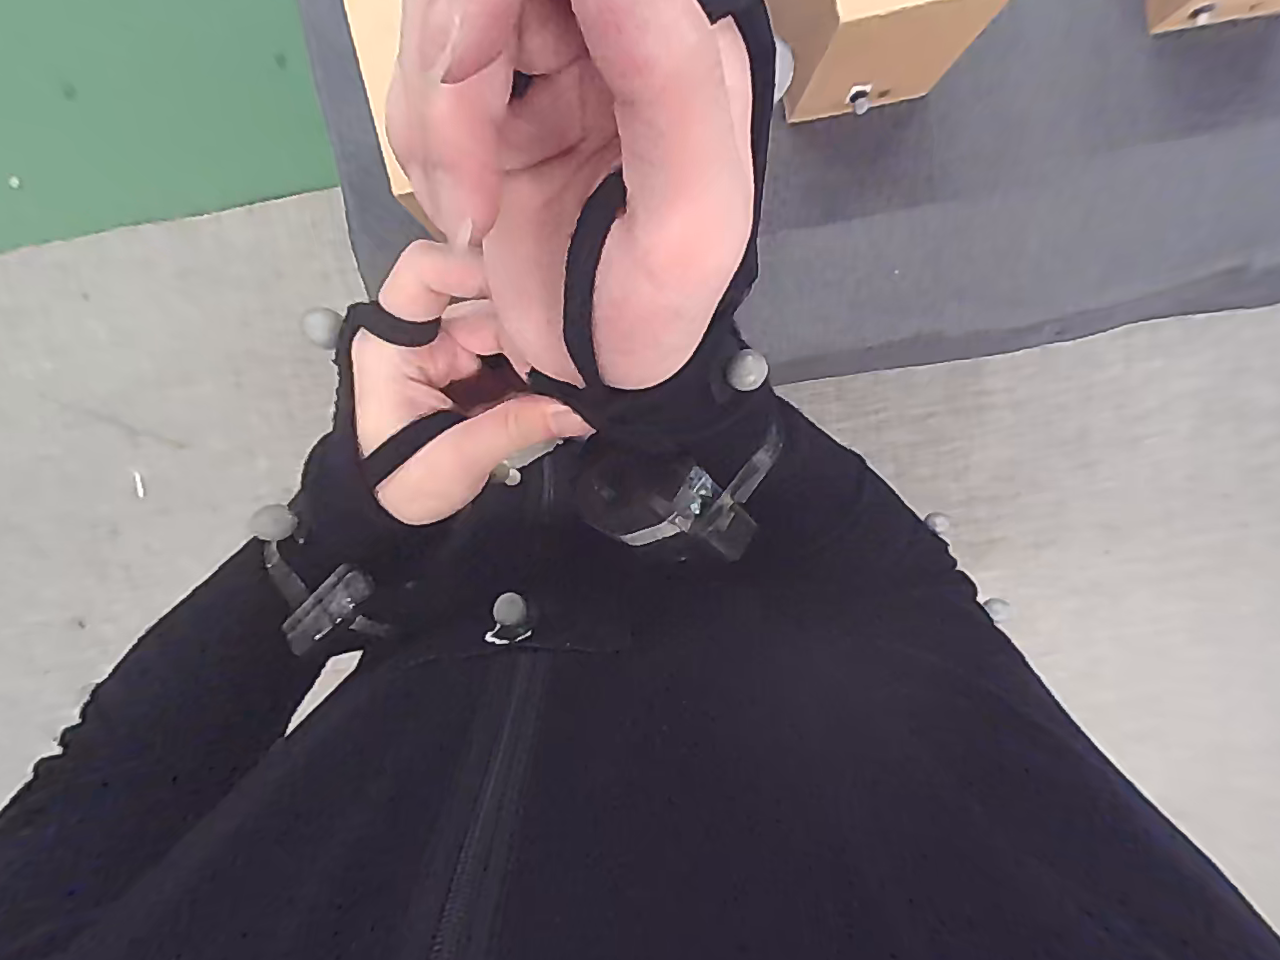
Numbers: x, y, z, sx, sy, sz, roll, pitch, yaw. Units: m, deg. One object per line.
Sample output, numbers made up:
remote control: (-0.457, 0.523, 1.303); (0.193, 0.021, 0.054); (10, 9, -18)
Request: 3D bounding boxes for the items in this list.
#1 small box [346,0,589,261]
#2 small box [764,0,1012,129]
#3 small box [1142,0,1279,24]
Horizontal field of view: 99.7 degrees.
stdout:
small box: (-0.151, -0.345, 0.536); (0.168, 0.176, 0.179); (-13, 95, 0)
small box: (0.229, -0.493, 0.532); (0.168, 0.176, 0.179); (-13, 97, 1)
small box: (0.638, -0.593, 0.527); (0.168, 0.176, 0.179); (-10, 95, 0)
